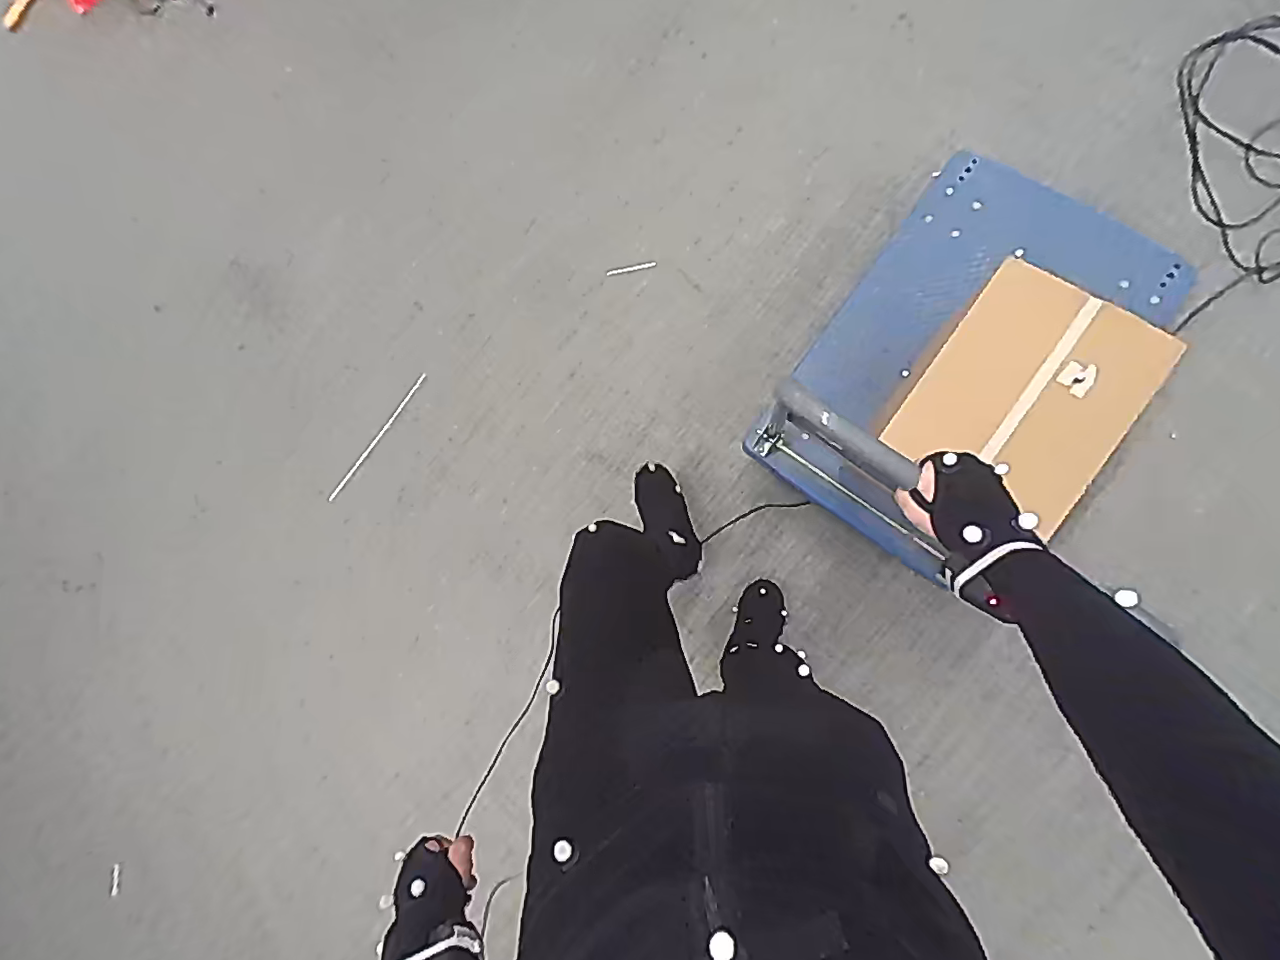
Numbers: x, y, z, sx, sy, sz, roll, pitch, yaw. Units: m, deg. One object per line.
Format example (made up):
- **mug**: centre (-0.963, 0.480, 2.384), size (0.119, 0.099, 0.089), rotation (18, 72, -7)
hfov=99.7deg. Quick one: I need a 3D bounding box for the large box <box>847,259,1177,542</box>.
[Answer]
- **large box**: centre (0.675, -0.125, 1.061), size (0.320, 0.320, 0.408), rotation (36, 90, 11)
